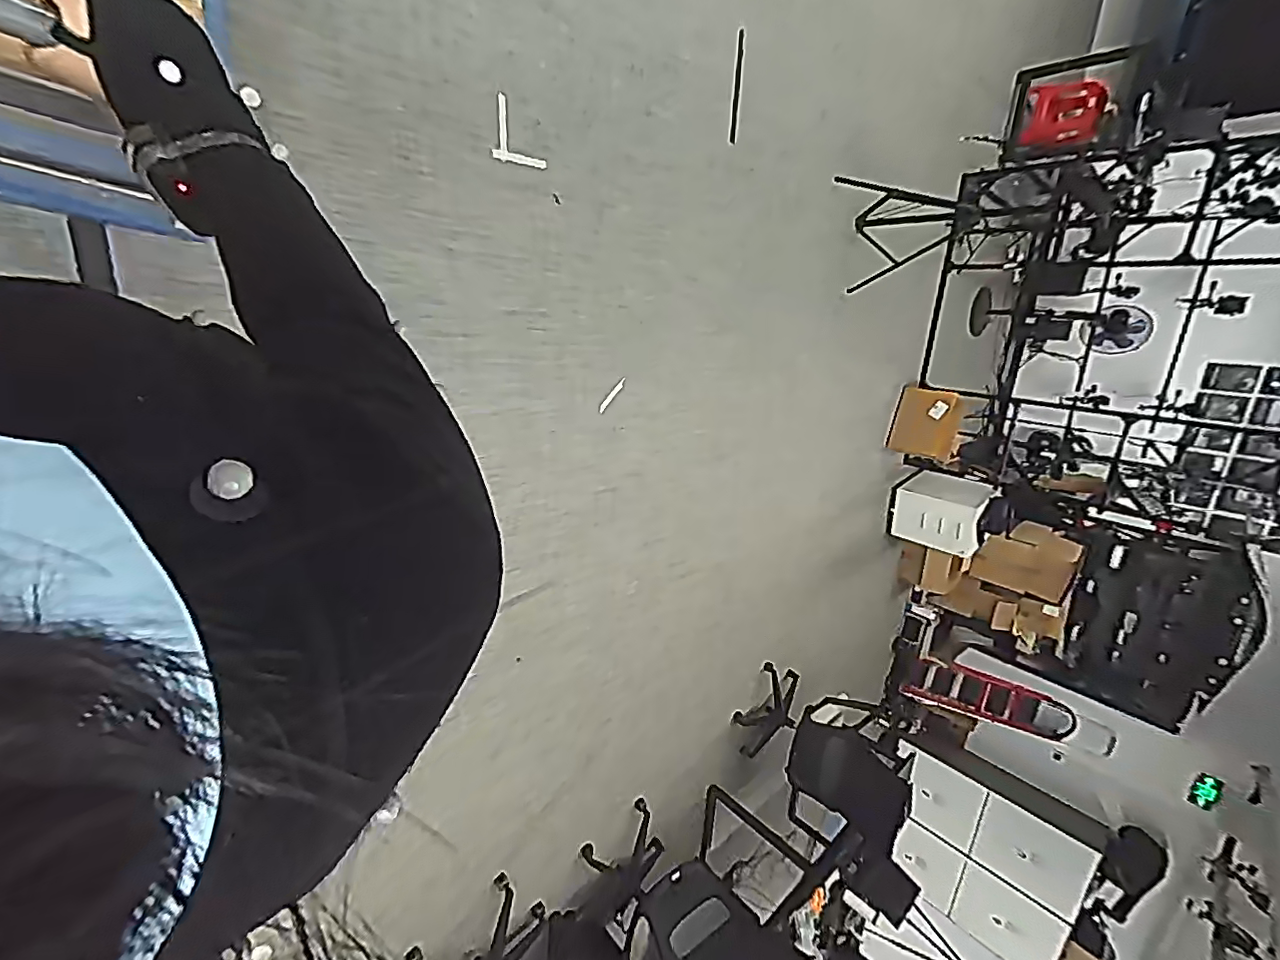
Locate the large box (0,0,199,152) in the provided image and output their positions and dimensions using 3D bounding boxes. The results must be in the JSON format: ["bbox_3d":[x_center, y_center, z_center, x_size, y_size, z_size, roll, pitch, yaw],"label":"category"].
[{"bbox_3d":[-0.833,-0.660,0.666,0.408,0.320,0.320,-6,109,-45],"label":"large box"}]
